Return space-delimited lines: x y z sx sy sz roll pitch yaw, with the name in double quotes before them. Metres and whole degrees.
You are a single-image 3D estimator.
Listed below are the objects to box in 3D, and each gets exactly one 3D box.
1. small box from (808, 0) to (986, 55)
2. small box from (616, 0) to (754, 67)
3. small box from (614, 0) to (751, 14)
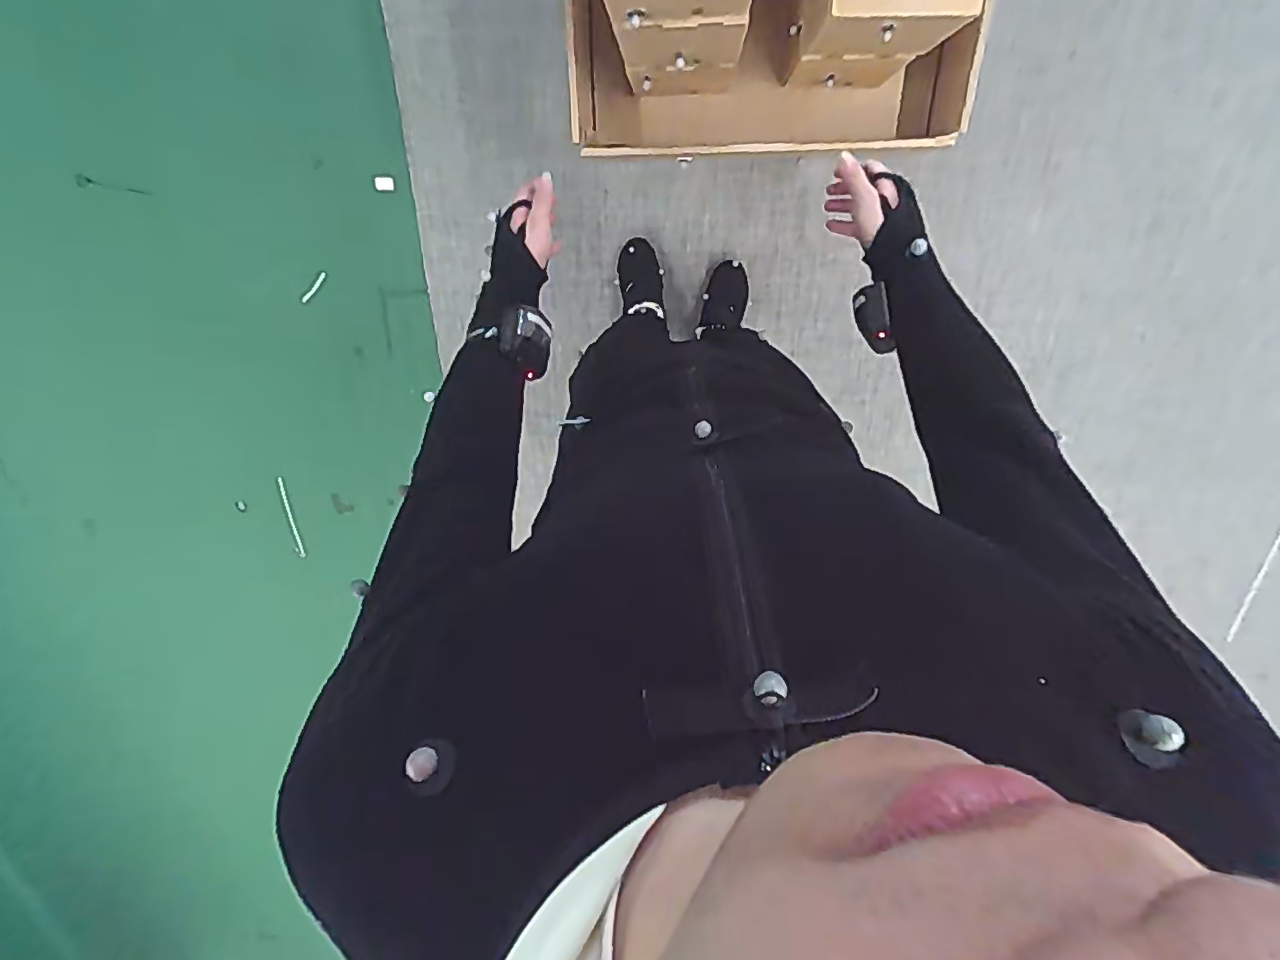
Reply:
"small box" 0.318 -0.649 0.668 0.179 0.176 0.168 3 116 3
"small box" 0.058 -0.654 0.683 0.168 0.176 0.179 2 114 4
"small box" 0.042 -0.594 0.531 0.168 0.176 0.179 0 113 4
